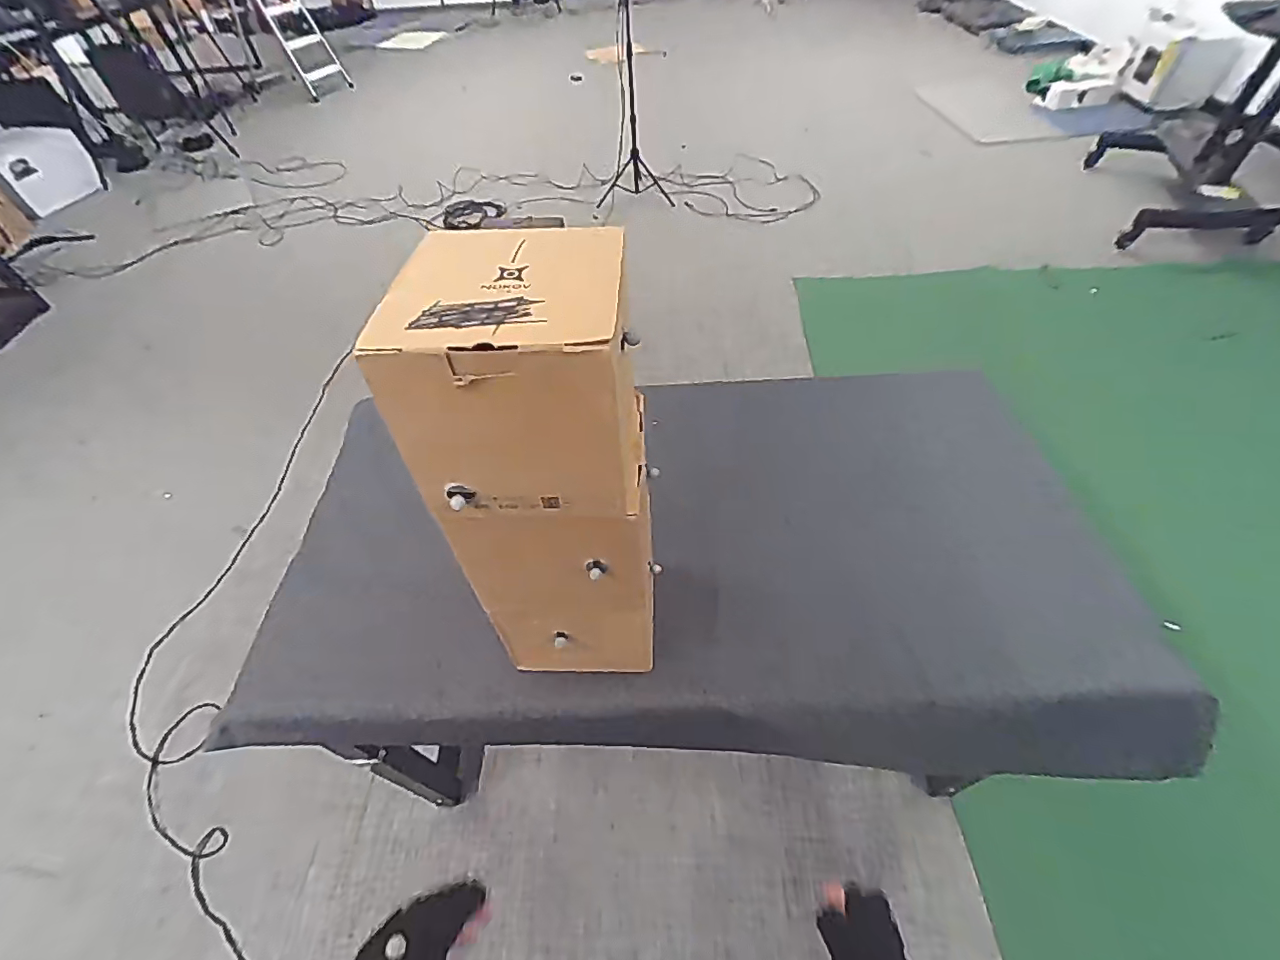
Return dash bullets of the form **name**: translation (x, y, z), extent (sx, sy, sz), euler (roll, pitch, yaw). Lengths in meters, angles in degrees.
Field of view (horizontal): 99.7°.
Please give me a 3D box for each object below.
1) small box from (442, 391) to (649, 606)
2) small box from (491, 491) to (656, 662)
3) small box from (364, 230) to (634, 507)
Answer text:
- **small box**: translation (-0.080, 0.023, 0.578), extent (0.179, 0.176, 0.168), euler (-2, 47, 4)
- **small box**: translation (-0.072, 0.126, 0.702), extent (0.179, 0.176, 0.168), euler (-1, 49, 4)
- **small box**: translation (-0.092, -0.090, 0.459), extent (0.168, 0.176, 0.179), euler (0, 47, 2)
